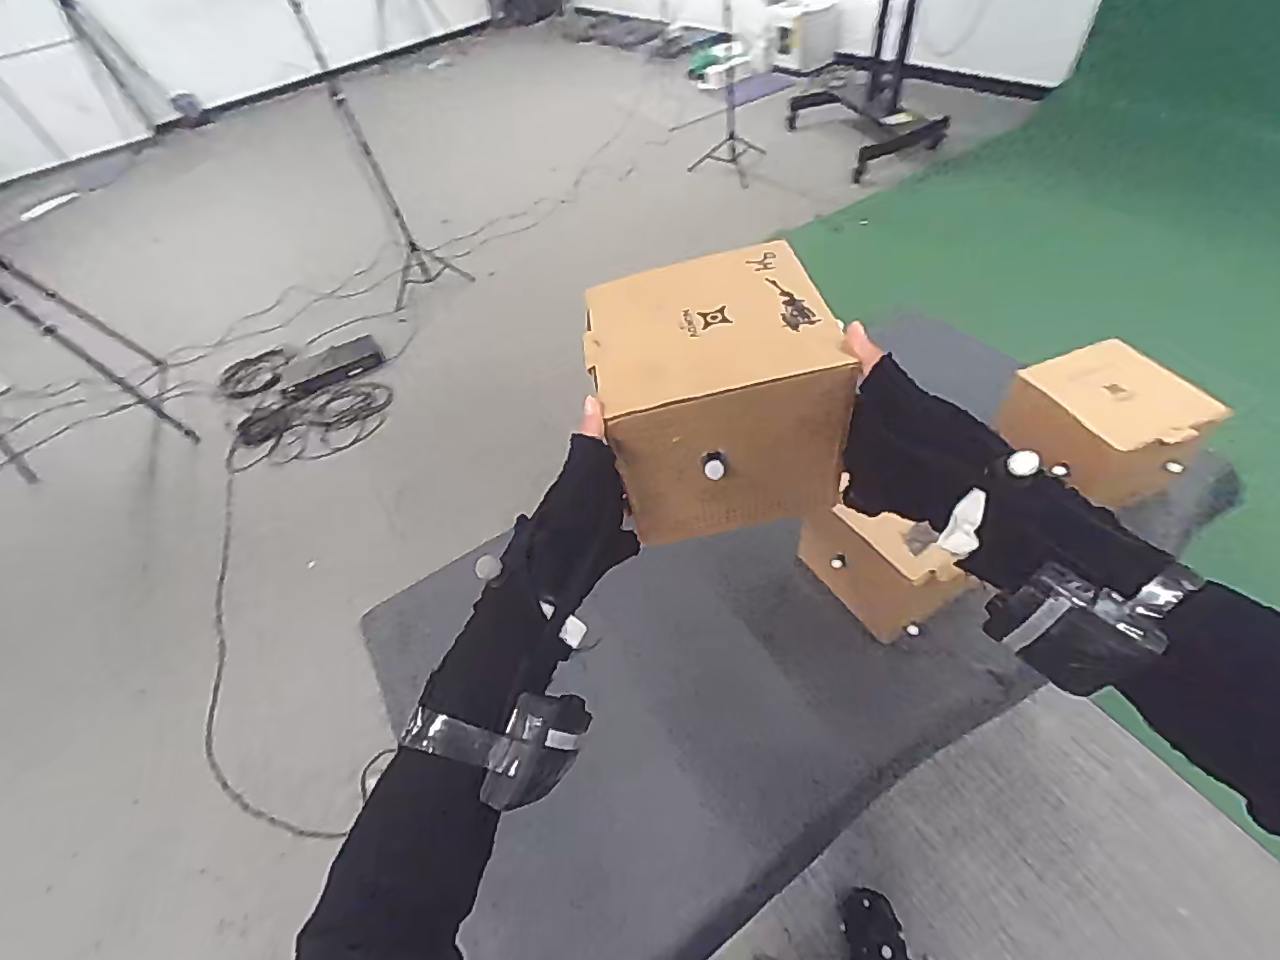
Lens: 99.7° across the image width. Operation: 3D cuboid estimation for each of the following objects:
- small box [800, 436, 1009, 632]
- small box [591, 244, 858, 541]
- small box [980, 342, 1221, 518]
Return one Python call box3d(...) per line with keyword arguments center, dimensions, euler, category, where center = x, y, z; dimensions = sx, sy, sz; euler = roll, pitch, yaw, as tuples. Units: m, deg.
box3d(center=(0.337, 0.080, 0.730), dimensions=(0.168, 0.176, 0.179), euler=(-29, 50, -13), category="small box")
box3d(center=(0.067, -0.066, 0.466), dimensions=(0.179, 0.176, 0.168), euler=(-13, 51, 5), category="small box")
box3d(center=(0.647, -0.065, 0.790), dimensions=(0.168, 0.176, 0.179), euler=(-19, 48, -6), category="small box")
